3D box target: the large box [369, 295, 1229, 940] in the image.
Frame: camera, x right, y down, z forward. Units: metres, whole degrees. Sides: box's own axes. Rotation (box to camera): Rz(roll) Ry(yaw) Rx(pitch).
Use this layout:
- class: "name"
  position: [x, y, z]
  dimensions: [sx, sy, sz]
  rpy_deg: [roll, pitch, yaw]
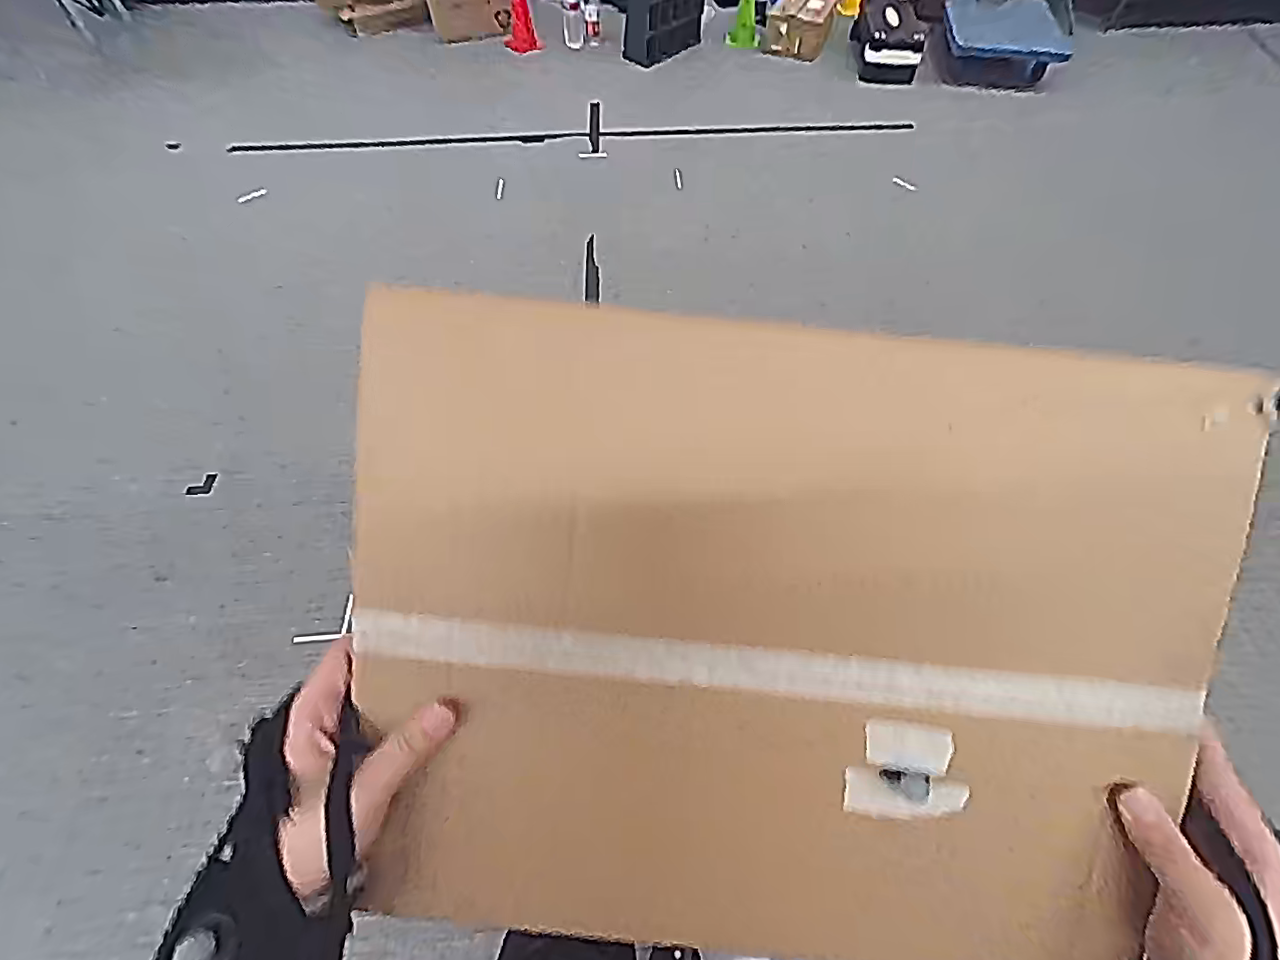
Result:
- class: "large box"
  position: [0.065, 0.062, 0.413]
  dimensions: [0.408, 0.320, 0.320]
  rpy_deg: [5, 98, -1]
